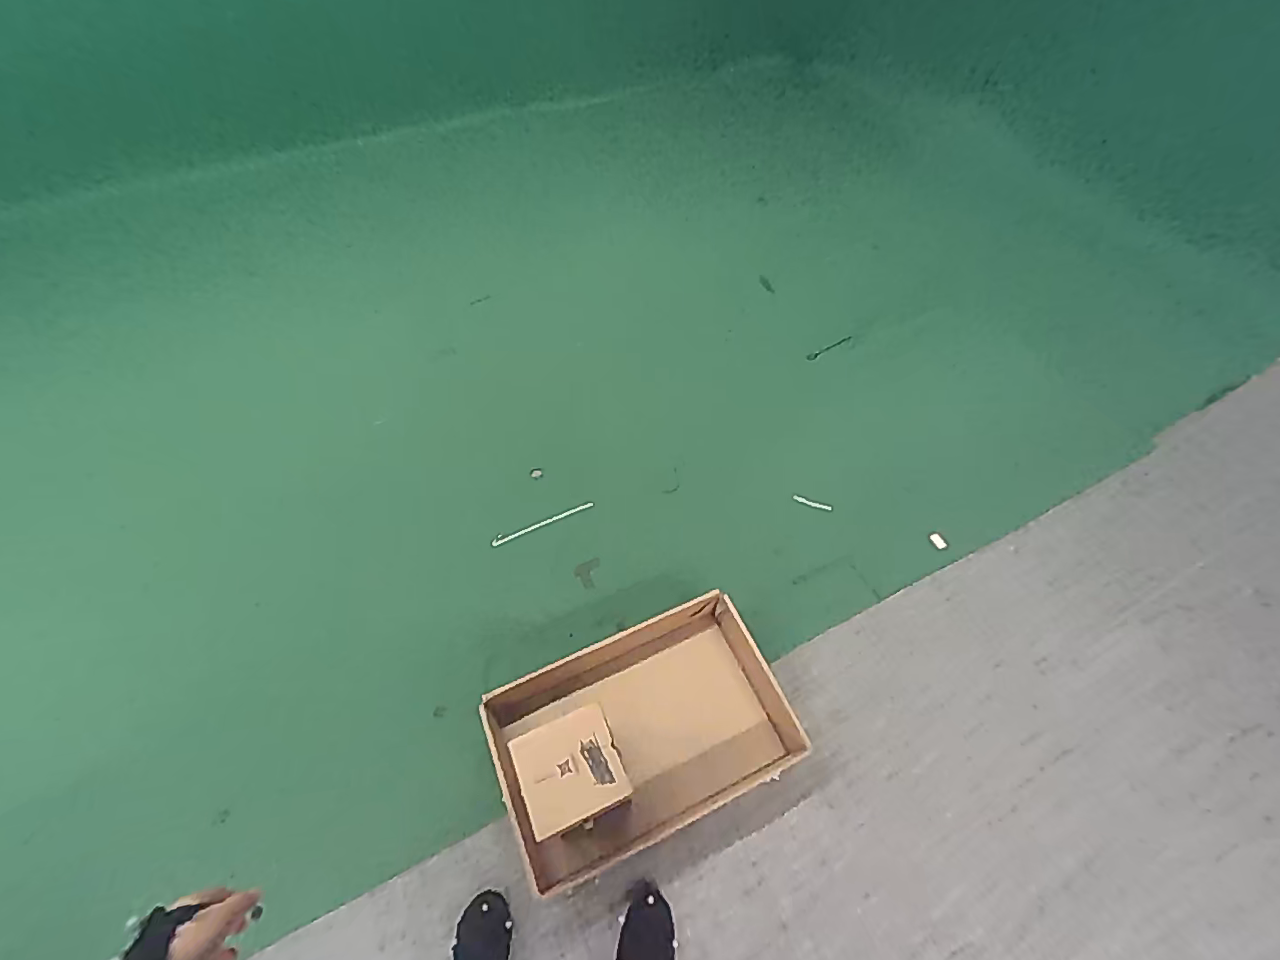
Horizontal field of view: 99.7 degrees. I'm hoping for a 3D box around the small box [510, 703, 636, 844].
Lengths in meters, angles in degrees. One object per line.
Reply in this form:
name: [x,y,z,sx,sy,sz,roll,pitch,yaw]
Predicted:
small box: [-0.120,0.536,0.993,0.179,0.176,0.168,-21,60,-13]
